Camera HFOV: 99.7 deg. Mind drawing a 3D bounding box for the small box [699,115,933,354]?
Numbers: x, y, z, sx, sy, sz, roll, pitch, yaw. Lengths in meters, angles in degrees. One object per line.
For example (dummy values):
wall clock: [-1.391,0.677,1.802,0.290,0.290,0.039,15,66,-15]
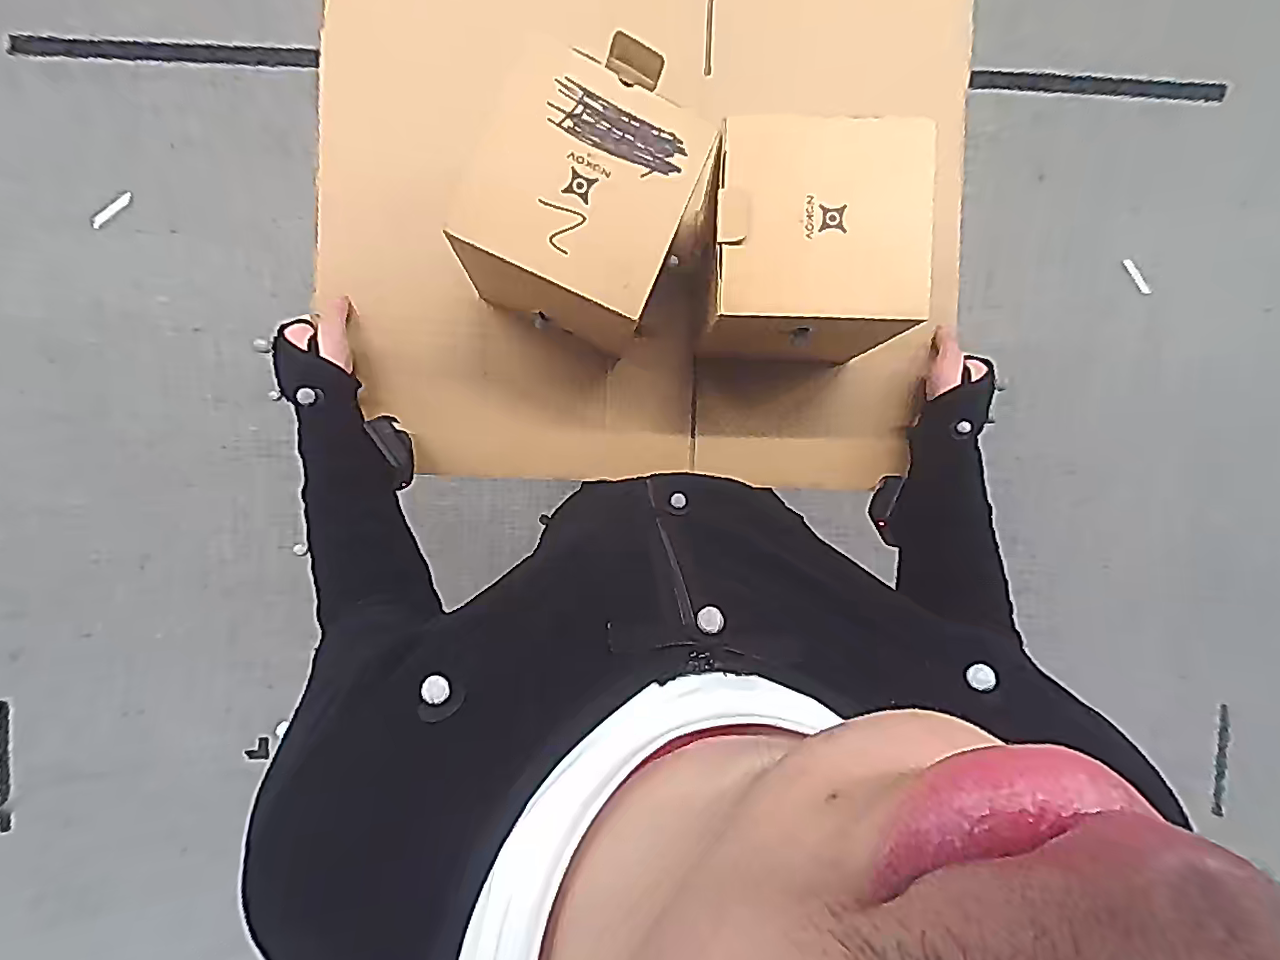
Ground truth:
small box: [0.157,-0.224,0.535,0.179,0.176,0.168,1,91,0]
